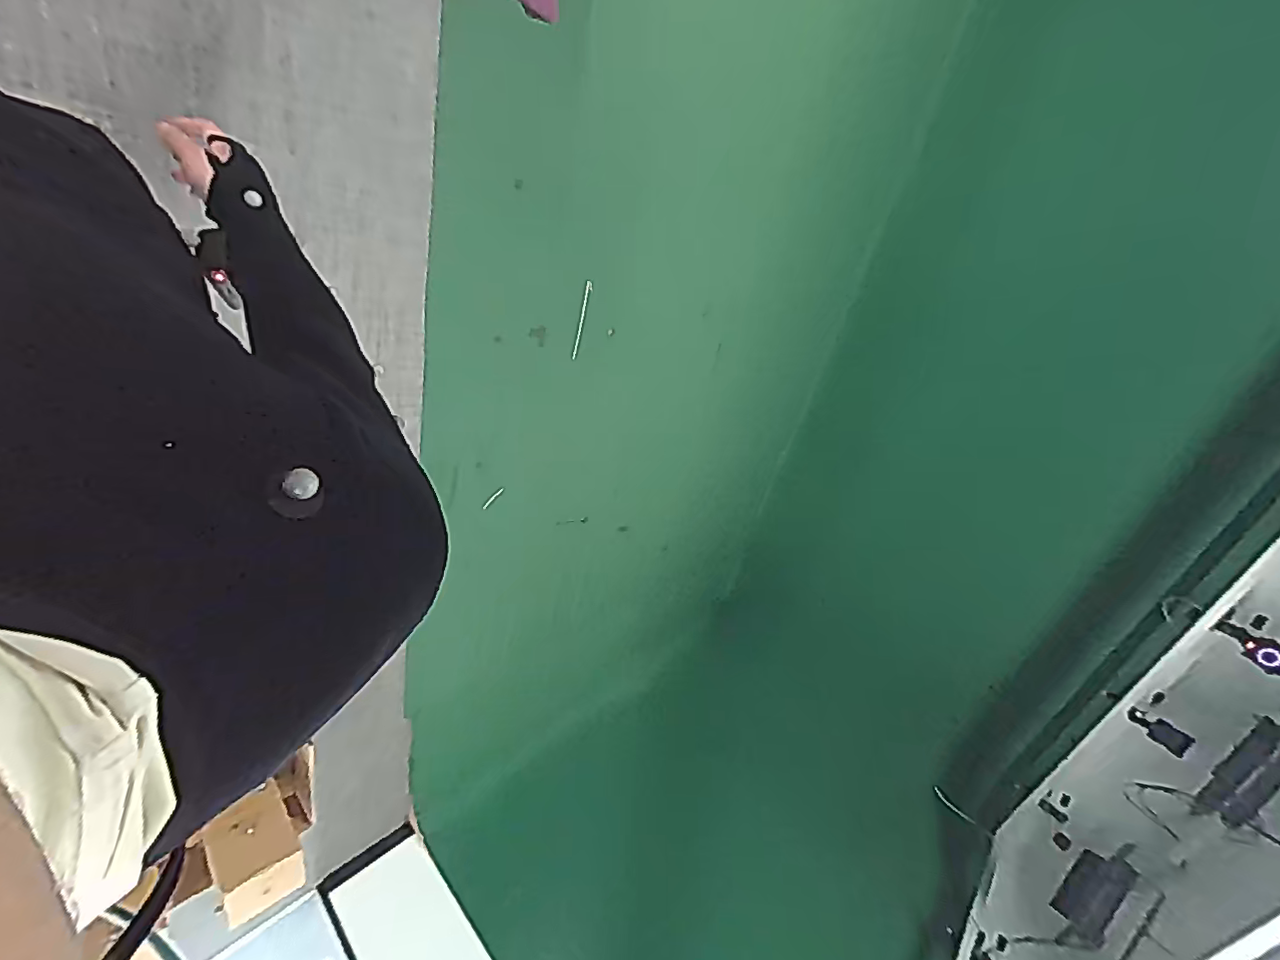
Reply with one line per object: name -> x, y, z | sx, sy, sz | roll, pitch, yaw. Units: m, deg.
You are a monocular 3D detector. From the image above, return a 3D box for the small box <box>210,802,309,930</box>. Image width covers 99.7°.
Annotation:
small box -> -0.965, 0.971, 1.375 | 0.168, 0.176, 0.179 | -16, 131, -47

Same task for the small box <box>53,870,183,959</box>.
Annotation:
small box -> -1.141, 1.017, 1.187 | 0.179, 0.176, 0.168 | -13, 127, -47
